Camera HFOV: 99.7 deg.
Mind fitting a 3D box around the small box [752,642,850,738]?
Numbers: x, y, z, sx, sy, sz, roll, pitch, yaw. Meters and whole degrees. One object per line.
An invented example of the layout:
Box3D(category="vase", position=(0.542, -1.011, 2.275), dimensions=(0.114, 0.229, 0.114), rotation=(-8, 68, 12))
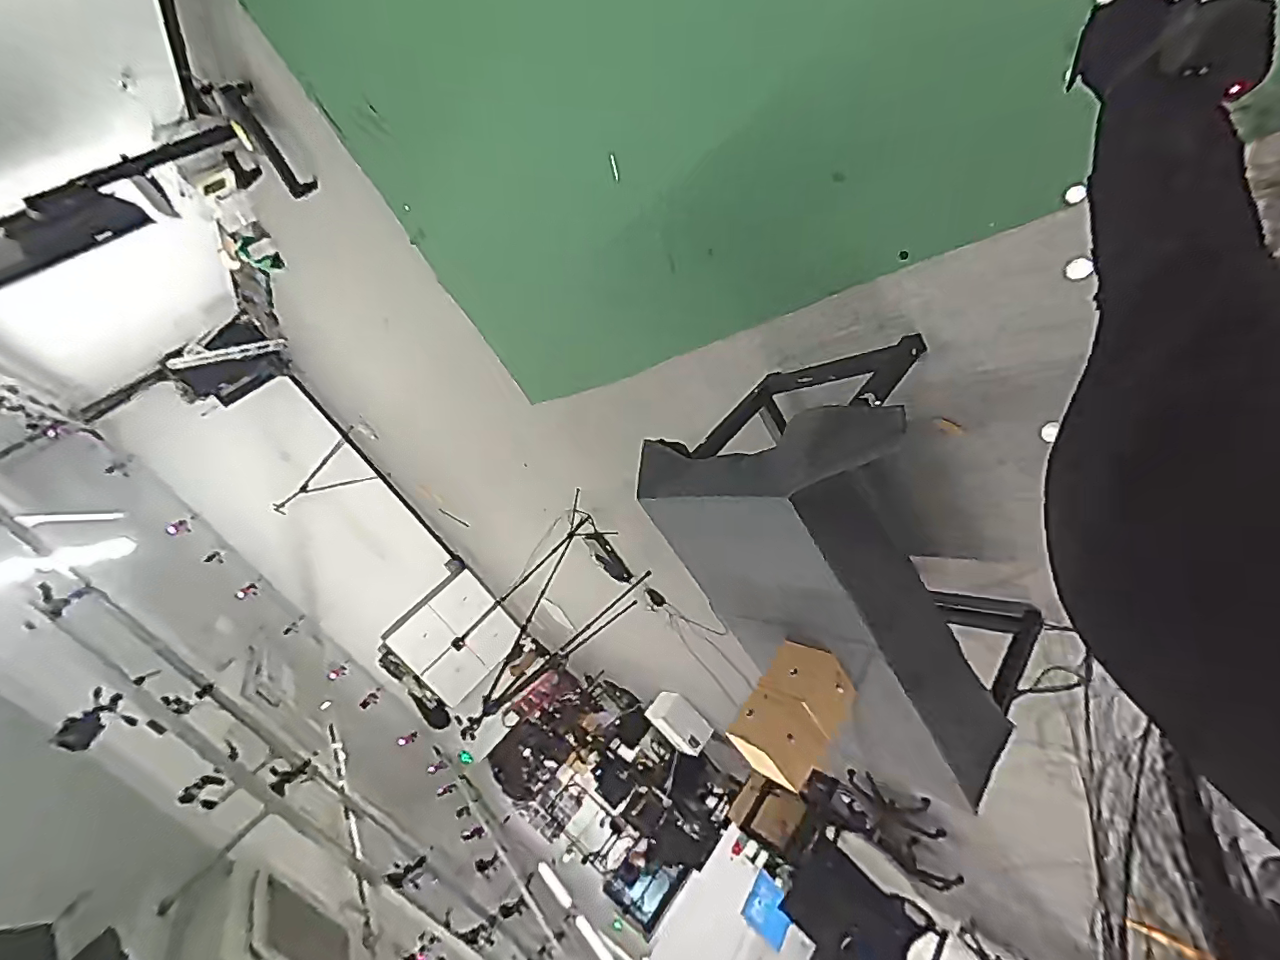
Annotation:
Box3D(category="small box", position=(0.463, 0.590, 1.547), dimensions=(0.179, 0.176, 0.168), rotation=(-3, 126, 56))

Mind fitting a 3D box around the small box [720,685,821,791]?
Box3D(category="small box", position=(0.358, 0.694, 1.478), dimensions=(0.179, 0.176, 0.168), rotation=(55, 153, -17))
